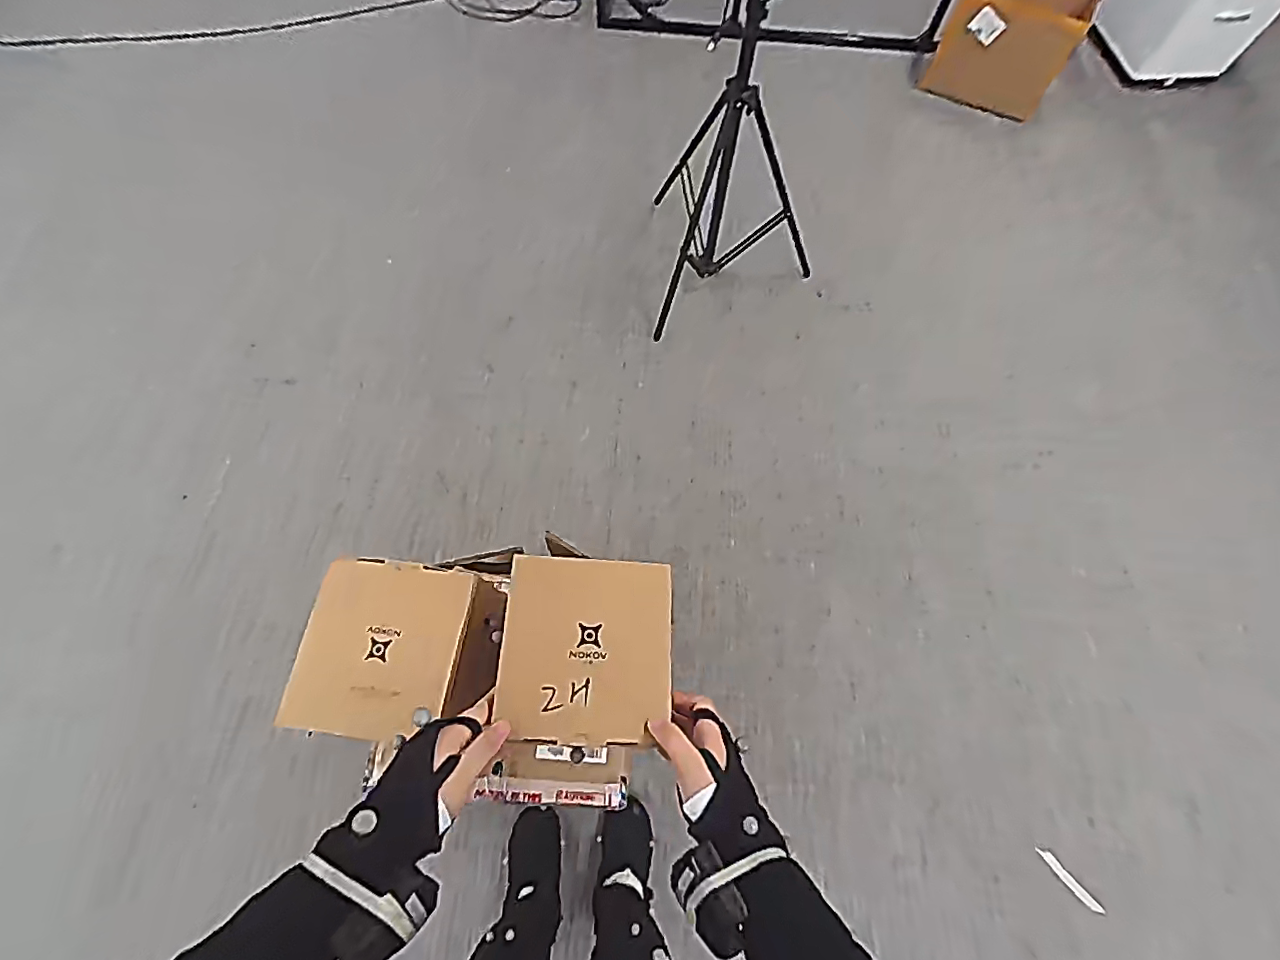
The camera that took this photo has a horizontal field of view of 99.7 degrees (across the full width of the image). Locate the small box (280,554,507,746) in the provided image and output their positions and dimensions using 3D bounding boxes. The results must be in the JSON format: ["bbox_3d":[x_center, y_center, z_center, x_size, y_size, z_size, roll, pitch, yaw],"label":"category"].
[{"bbox_3d":[-0.264,0.198,0.632,0.168,0.176,0.179,5,70,4],"label":"small box"}]

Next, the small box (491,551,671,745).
[{"bbox_3d":[-0.061,0.192,0.596,0.168,0.176,0.179,4,63,-5],"label":"small box"}]
